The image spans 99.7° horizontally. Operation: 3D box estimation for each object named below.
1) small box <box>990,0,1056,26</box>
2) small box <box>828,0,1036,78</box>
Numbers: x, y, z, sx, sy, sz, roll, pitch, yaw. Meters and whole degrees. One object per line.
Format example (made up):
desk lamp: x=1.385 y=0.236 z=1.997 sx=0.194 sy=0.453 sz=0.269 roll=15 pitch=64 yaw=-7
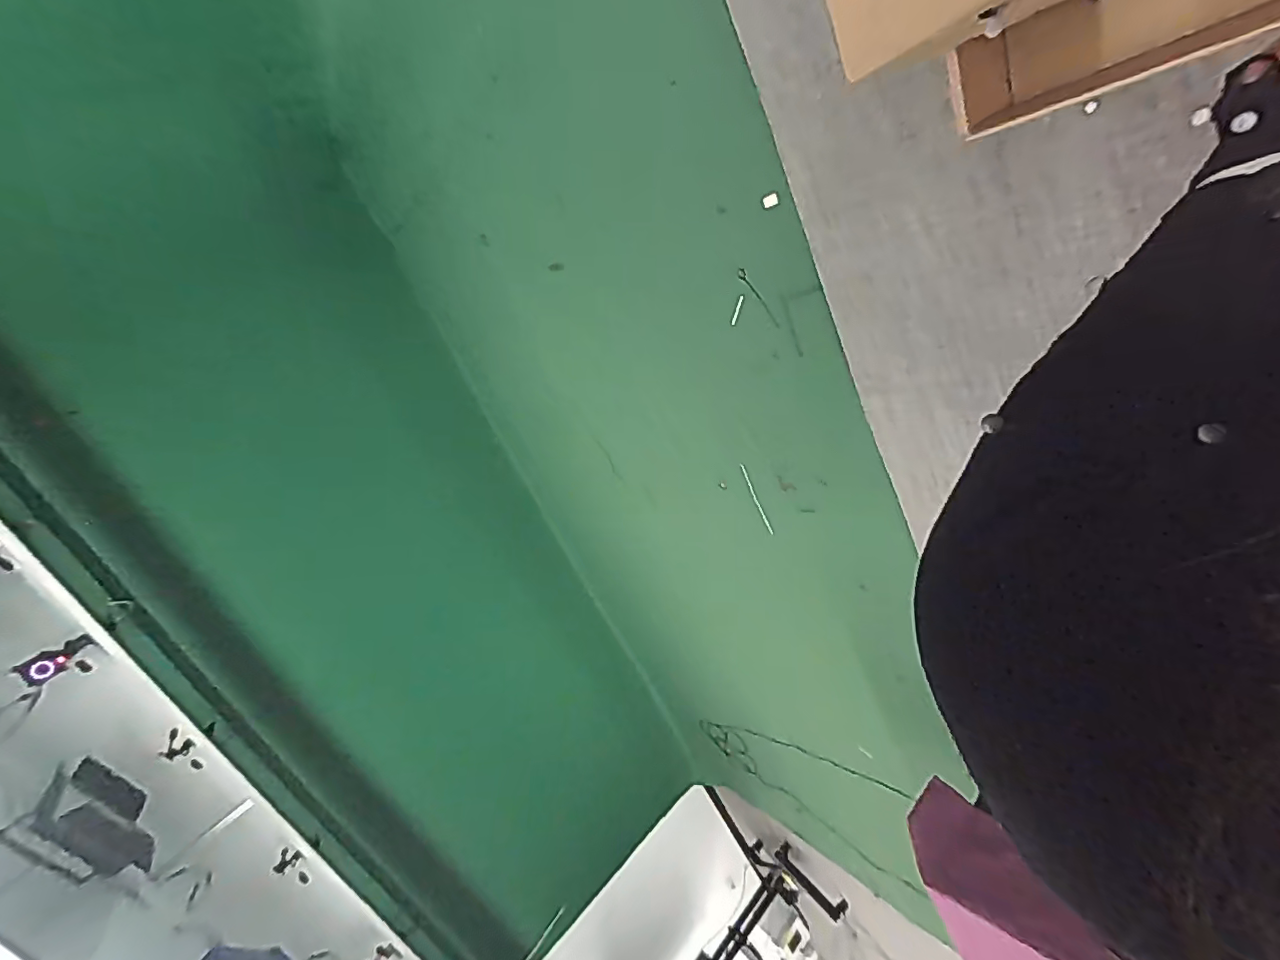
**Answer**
small box: x=0.337 y=-0.479 z=0.406 sx=0.179 sy=0.176 sz=0.168 roll=6 pitch=127 yaw=52
small box: x=0.224 y=-0.388 z=0.327 sx=0.179 sy=0.176 sz=0.168 roll=5 pitch=127 yaw=53
